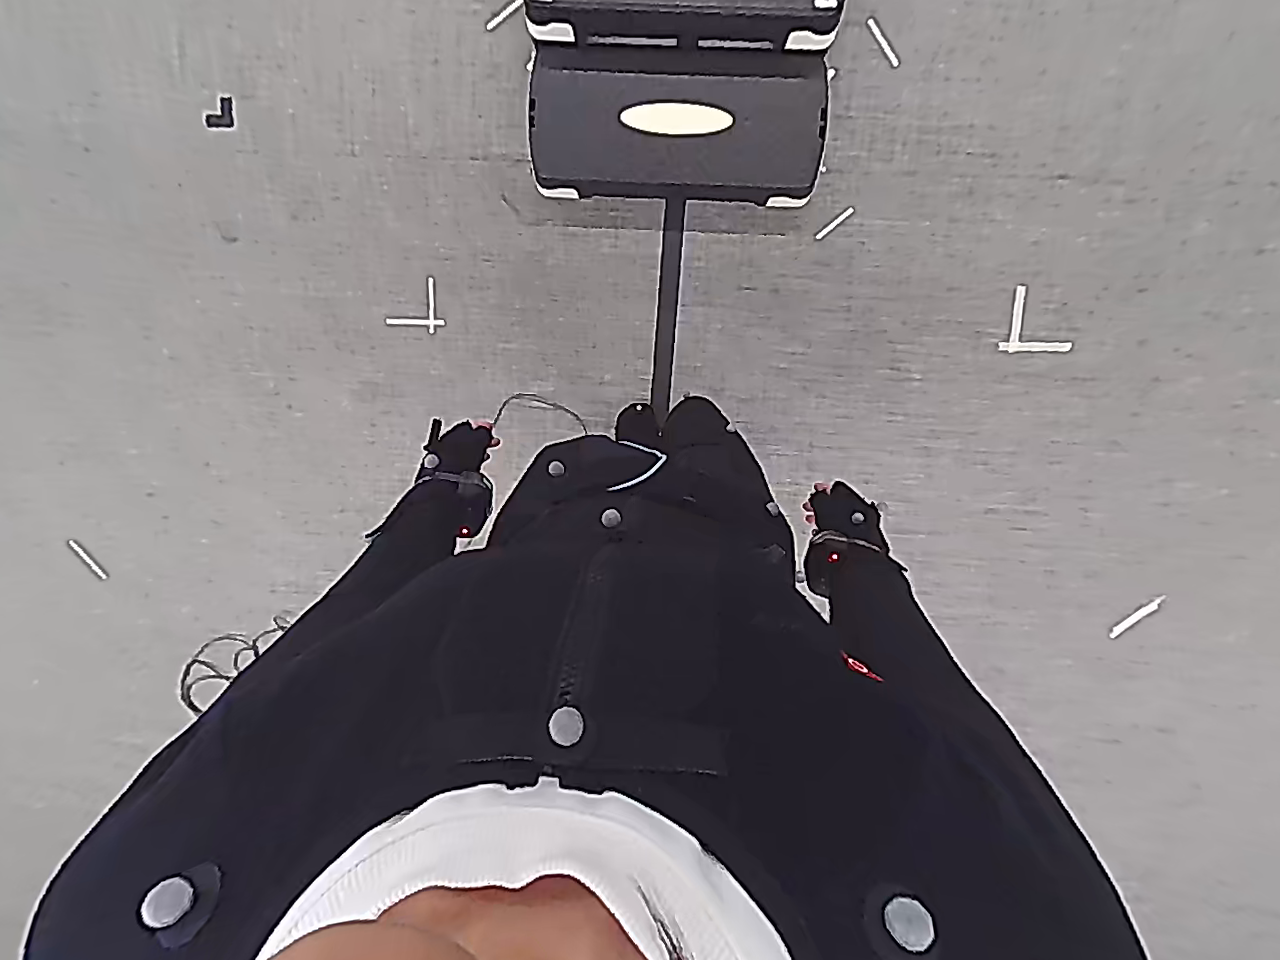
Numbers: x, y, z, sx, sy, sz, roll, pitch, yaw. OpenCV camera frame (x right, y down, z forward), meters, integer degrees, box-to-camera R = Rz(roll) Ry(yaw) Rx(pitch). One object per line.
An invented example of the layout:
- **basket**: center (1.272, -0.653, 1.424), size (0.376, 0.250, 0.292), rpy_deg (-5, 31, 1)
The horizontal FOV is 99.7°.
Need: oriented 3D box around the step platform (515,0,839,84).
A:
- **step platform**: center (0.076, -1.053, 1.148), size (0.684, 0.204, 0.286), rpy_deg (2, 101, 1)
